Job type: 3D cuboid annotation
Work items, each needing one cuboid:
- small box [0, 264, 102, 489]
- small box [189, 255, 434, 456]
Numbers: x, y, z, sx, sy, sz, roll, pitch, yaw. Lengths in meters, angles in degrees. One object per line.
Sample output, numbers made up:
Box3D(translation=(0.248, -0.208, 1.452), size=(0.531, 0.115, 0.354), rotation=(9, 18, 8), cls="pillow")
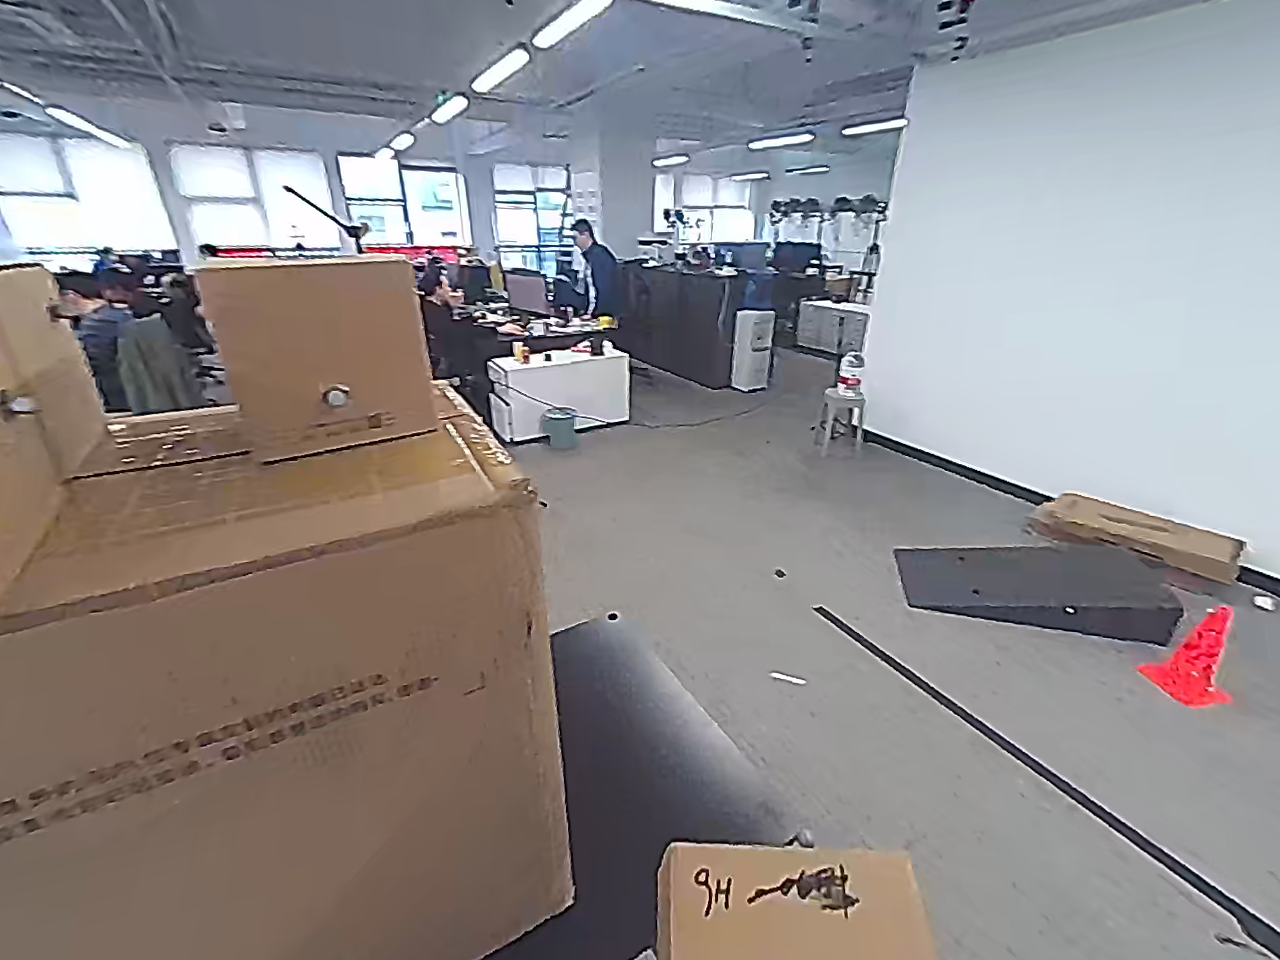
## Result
Box3D(translation=(-0.595, -0.086, 0.446), size=(0.168, 0.176, 0.179), rotation=(-14, 27, -29), cls="small box")
Box3D(translation=(-0.327, -0.137, 0.557), size=(0.168, 0.176, 0.179), rotation=(-17, 29, -29), cls="small box")
